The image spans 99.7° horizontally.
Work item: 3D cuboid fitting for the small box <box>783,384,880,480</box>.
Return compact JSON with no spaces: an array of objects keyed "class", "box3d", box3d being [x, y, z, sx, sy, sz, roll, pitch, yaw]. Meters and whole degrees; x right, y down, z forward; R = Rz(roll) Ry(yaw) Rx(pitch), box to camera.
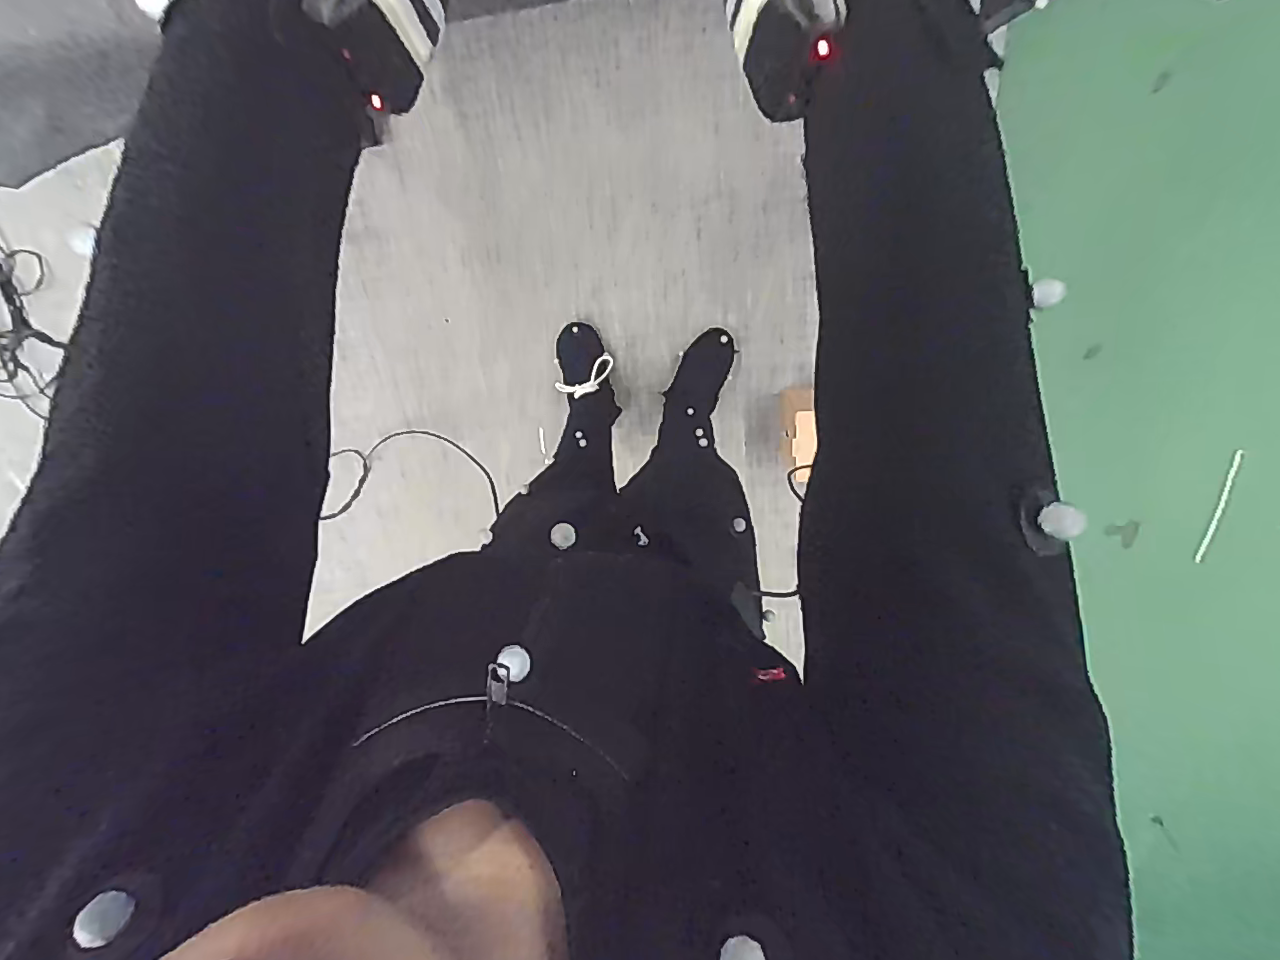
[{"class":"small box","box3d":[0.423,-0.111,1.223,0.179,0.176,0.168,-4,115,7]}]
